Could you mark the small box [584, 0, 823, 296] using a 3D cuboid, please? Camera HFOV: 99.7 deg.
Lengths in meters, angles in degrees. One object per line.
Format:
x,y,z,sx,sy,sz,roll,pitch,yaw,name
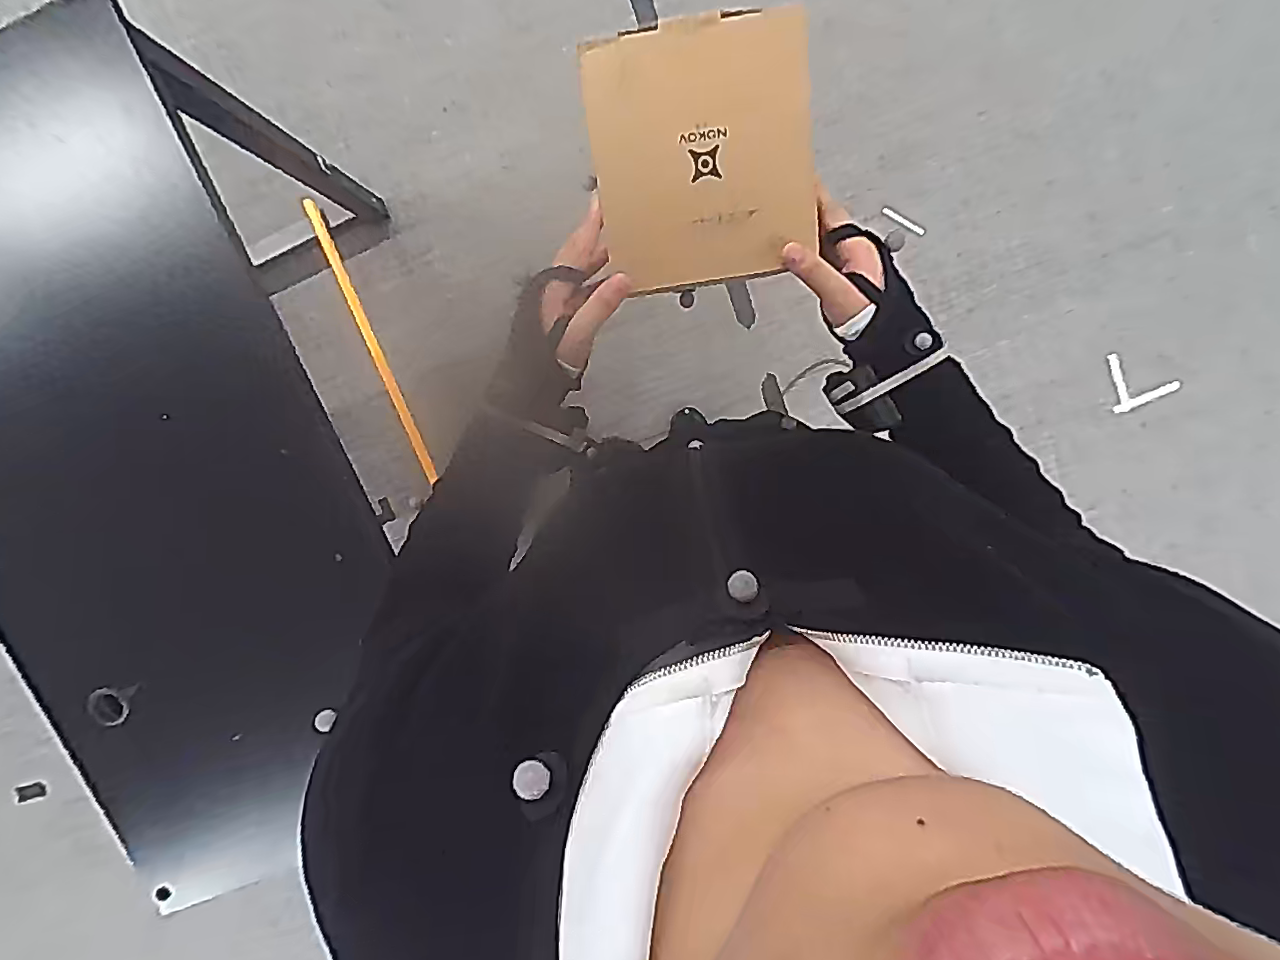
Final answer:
0.048,-0.264,0.471,0.168,0.176,0.179,-8,108,1,small box
